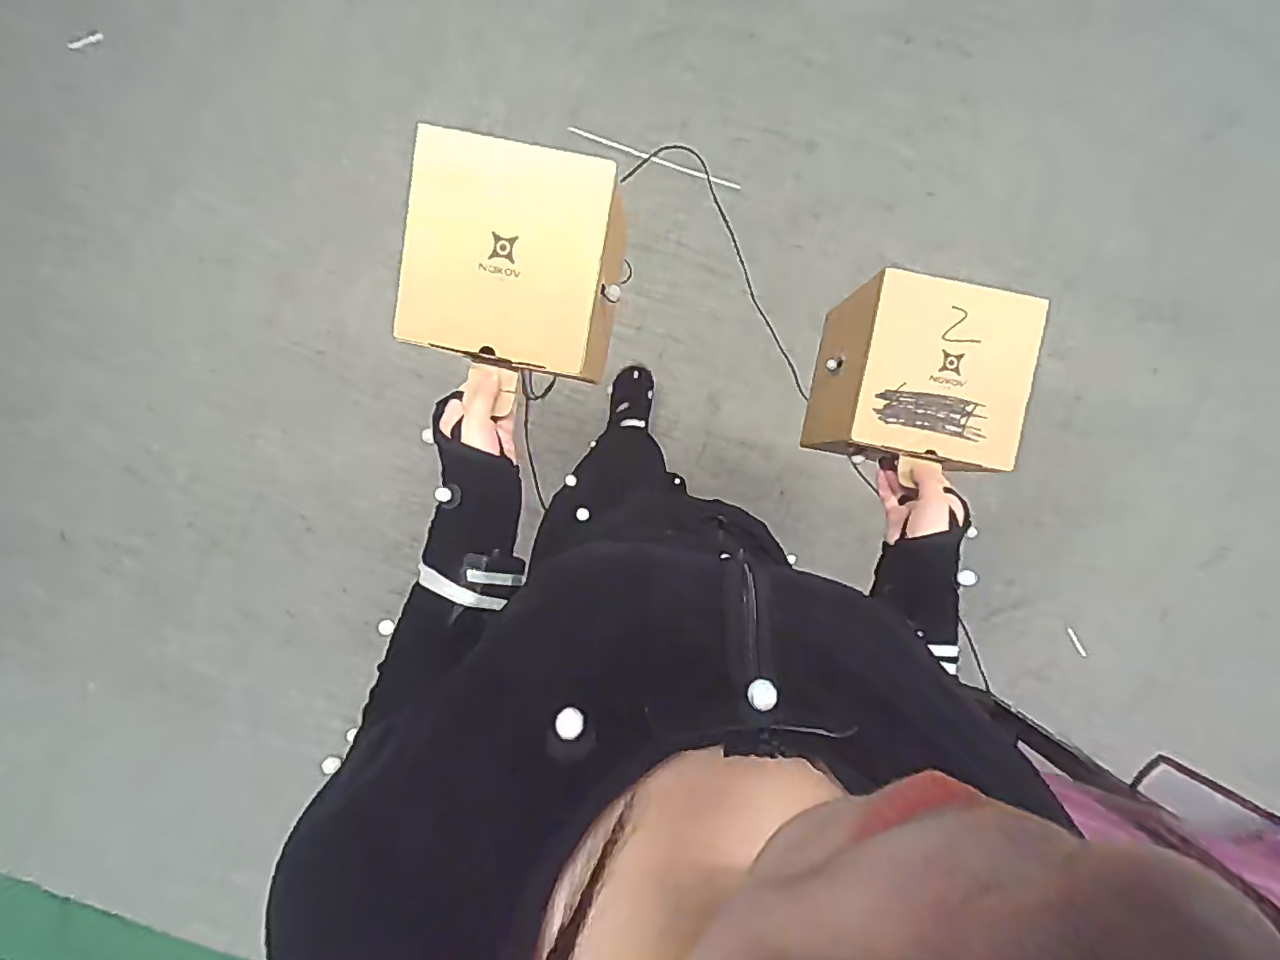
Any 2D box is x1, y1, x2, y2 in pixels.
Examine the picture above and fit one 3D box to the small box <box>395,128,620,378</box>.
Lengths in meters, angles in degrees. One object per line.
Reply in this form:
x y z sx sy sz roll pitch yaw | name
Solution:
-0.116 -0.204 0.537 0.168 0.176 0.179 11 100 0 | small box
